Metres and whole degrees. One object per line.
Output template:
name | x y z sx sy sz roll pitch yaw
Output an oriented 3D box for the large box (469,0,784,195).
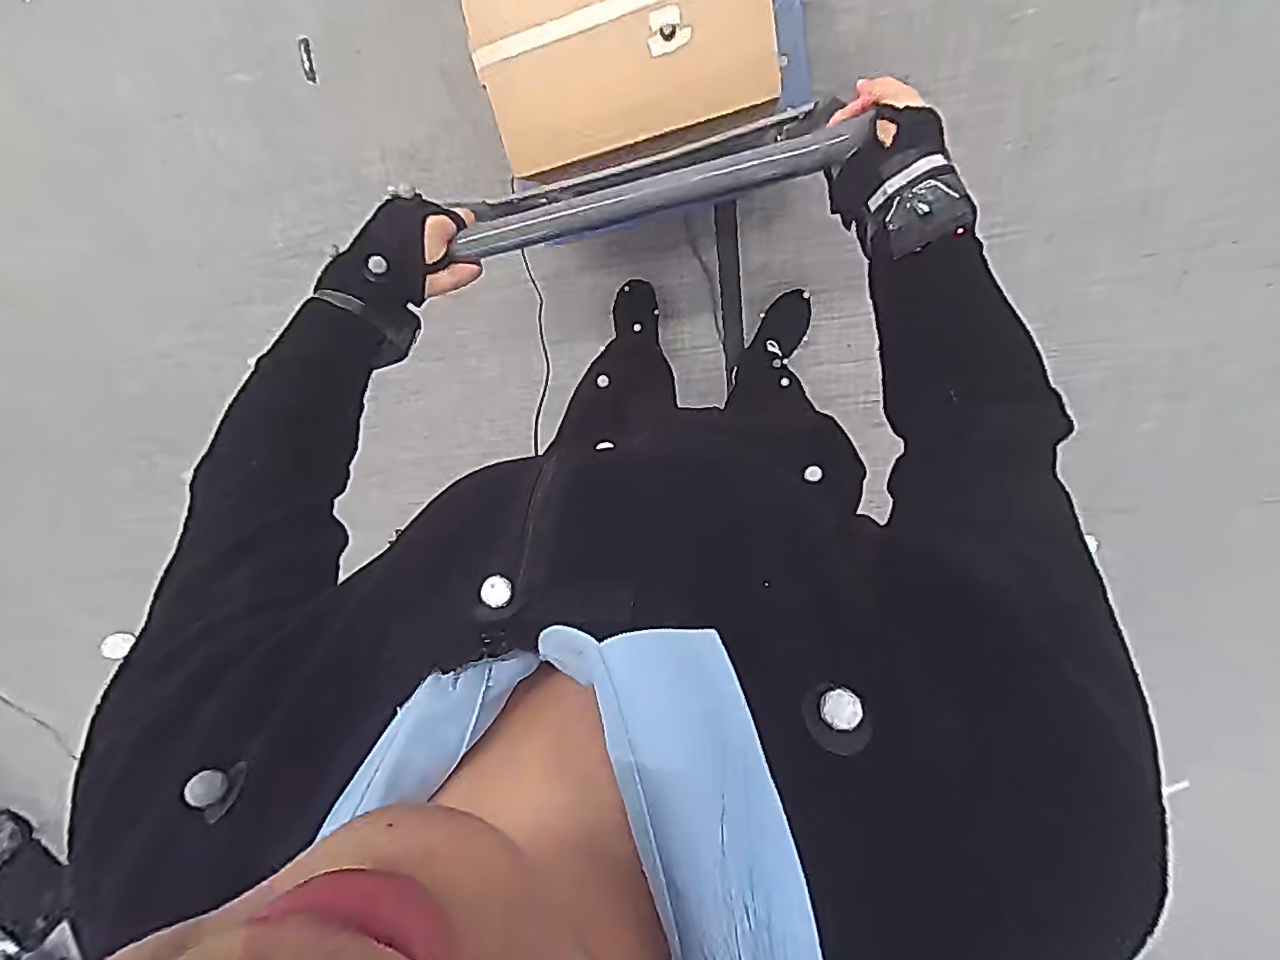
large box | -0.009 -0.686 0.866 0.408 0.320 0.320 -10 113 12
